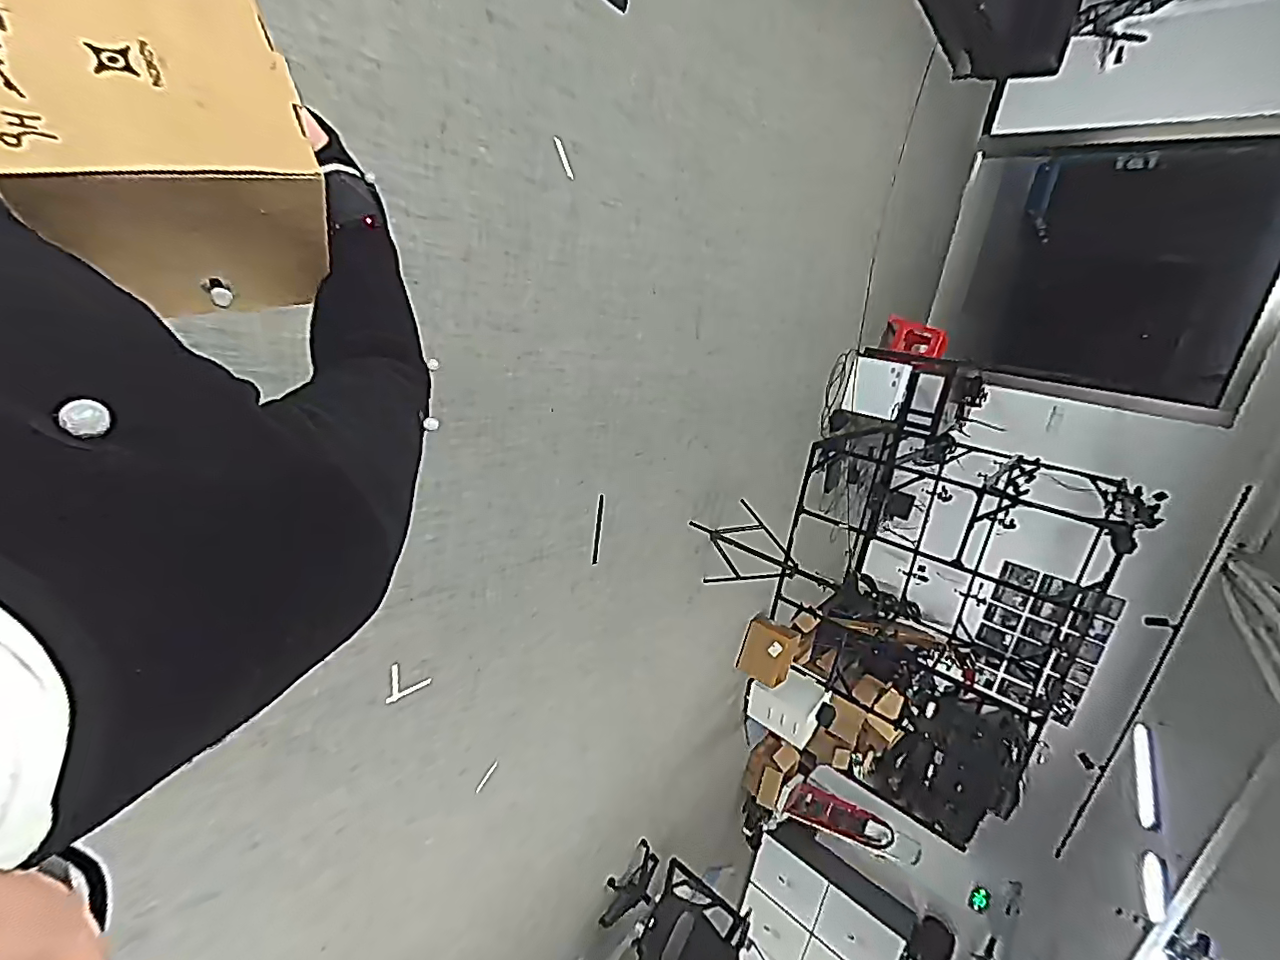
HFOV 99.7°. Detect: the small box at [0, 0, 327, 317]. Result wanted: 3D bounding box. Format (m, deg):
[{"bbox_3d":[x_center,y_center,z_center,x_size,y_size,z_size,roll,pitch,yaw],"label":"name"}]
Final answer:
[{"bbox_3d":[-0.372,-0.253,0.434,0.179,0.176,0.168,-20,84,-31],"label":"small box"}]
